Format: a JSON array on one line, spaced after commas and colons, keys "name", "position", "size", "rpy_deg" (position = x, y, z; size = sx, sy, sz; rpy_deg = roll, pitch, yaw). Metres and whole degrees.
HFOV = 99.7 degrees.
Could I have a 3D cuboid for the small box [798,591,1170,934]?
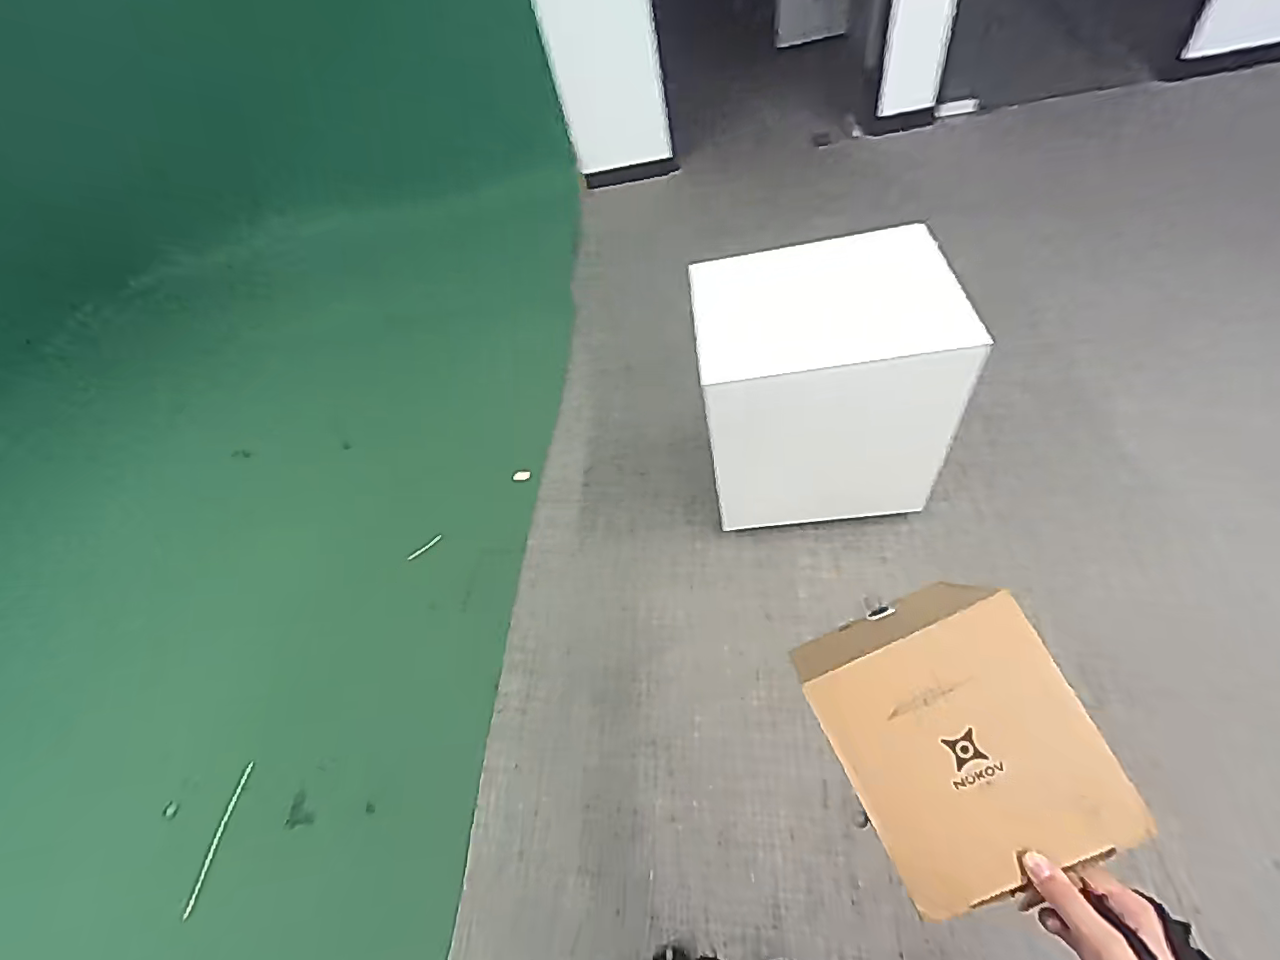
[{"name": "small box", "position": [0.249, 0.206, 0.449], "size": [0.168, 0.176, 0.179], "rpy_deg": [-29, 76, 7]}]
